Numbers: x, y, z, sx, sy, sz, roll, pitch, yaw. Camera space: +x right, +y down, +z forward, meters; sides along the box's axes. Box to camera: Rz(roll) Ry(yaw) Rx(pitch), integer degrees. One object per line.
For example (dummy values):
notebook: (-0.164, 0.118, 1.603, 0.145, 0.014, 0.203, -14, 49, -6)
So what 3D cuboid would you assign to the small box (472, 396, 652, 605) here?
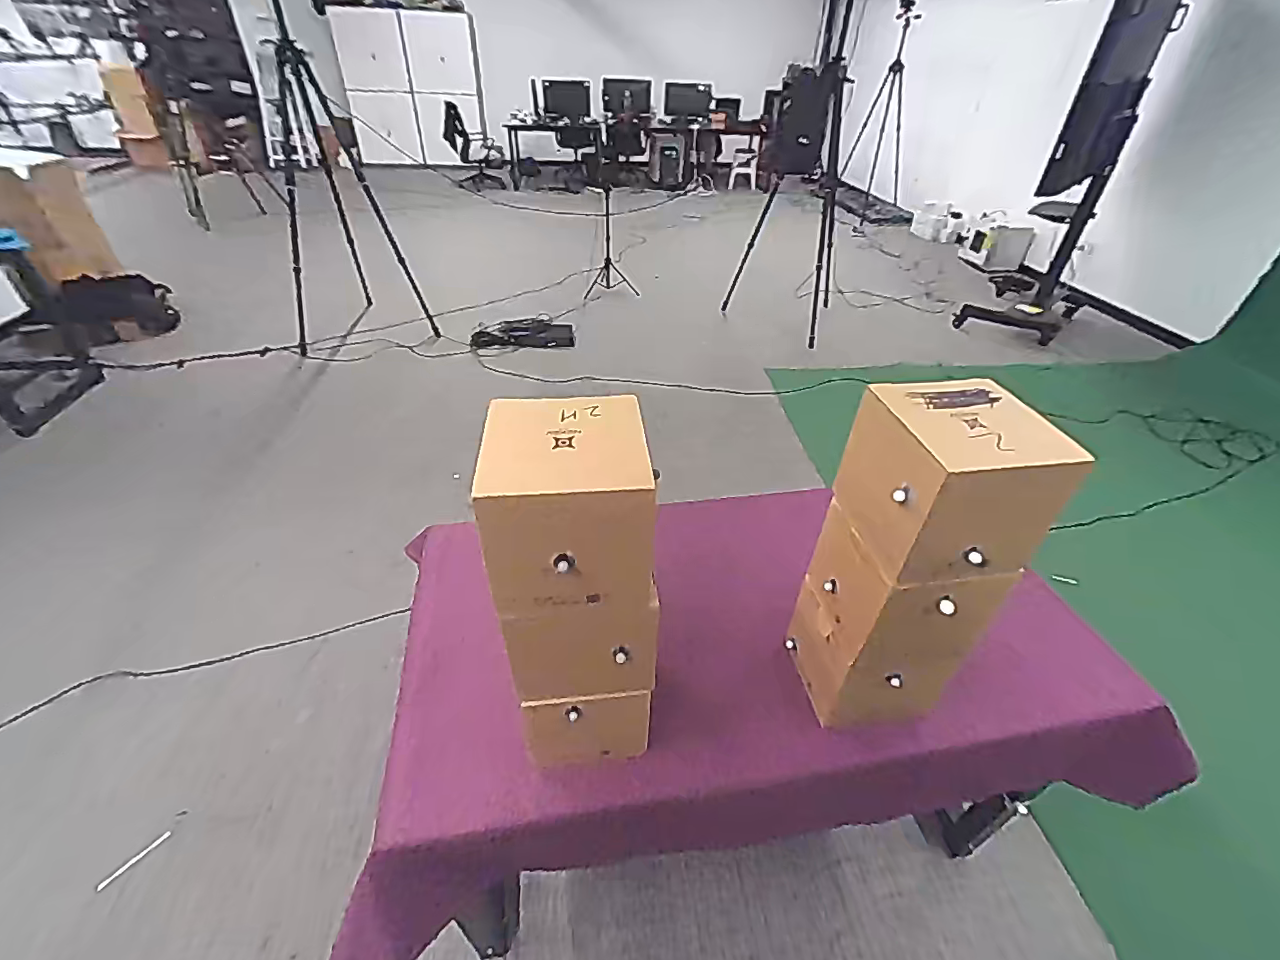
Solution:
small box: (-0.076, 0.024, 0.598, 0.168, 0.176, 0.179, -2, 38, -5)

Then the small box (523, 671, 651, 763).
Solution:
small box: (-0.078, 0.284, 0.797, 0.168, 0.176, 0.179, -4, 38, -6)

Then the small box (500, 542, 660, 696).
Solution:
small box: (-0.073, 0.156, 0.696, 0.179, 0.176, 0.168, -3, 38, -5)

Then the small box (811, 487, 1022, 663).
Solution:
small box: (0.362, 0.130, 0.747, 0.179, 0.176, 0.168, -5, 39, -7)

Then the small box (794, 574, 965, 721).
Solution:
small box: (0.355, 0.257, 0.848, 0.179, 0.176, 0.168, -3, 39, -7)
